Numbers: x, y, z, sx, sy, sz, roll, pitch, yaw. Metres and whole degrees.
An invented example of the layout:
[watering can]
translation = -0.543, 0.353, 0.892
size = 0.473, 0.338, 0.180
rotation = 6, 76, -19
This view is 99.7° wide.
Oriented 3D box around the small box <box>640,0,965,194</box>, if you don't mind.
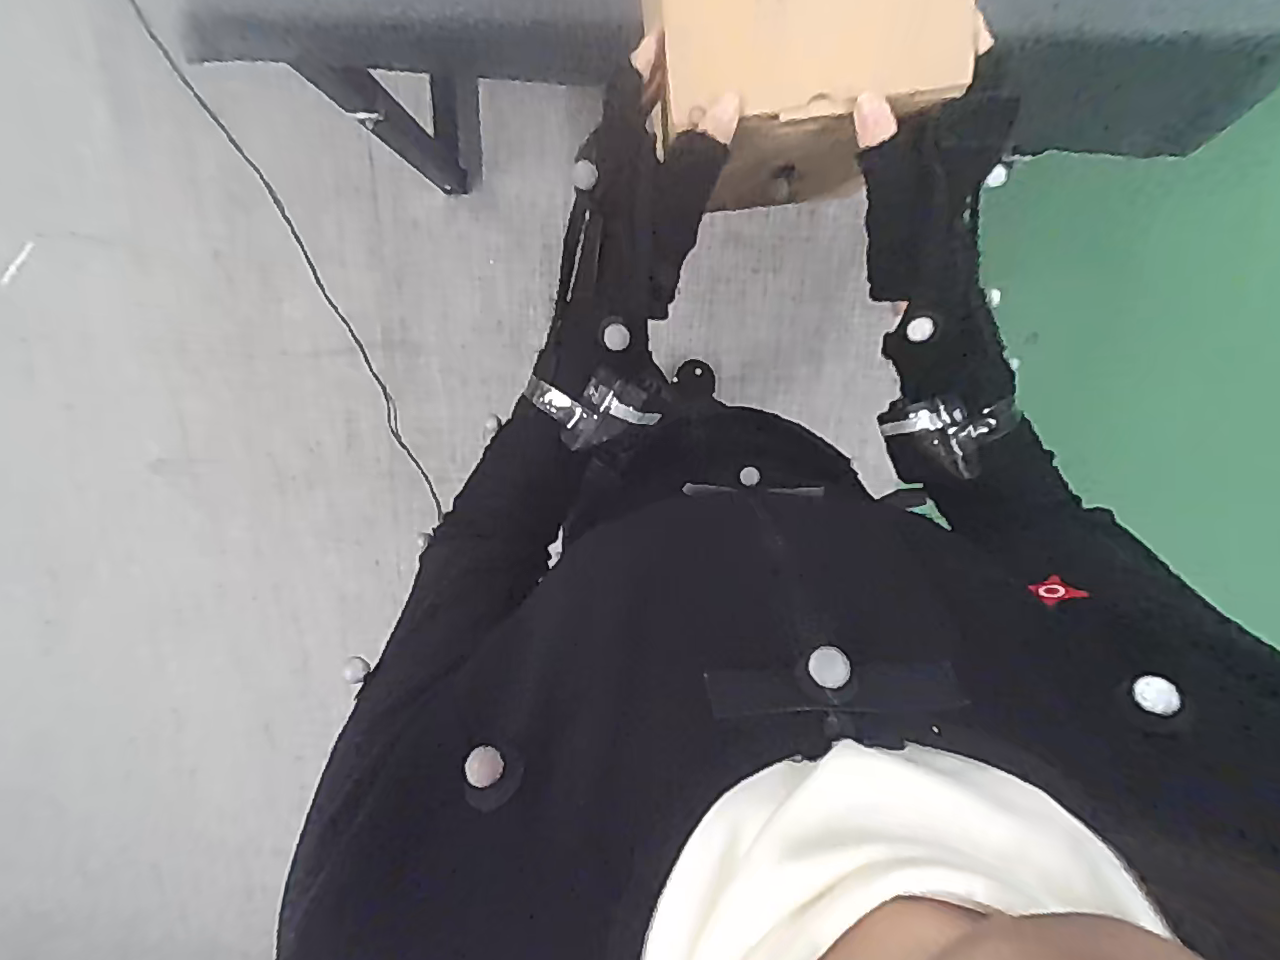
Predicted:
[small box]
translation = 0.086, -0.305, 0.355
size = 0.168, 0.176, 0.179
rotation = -6, 102, 2
